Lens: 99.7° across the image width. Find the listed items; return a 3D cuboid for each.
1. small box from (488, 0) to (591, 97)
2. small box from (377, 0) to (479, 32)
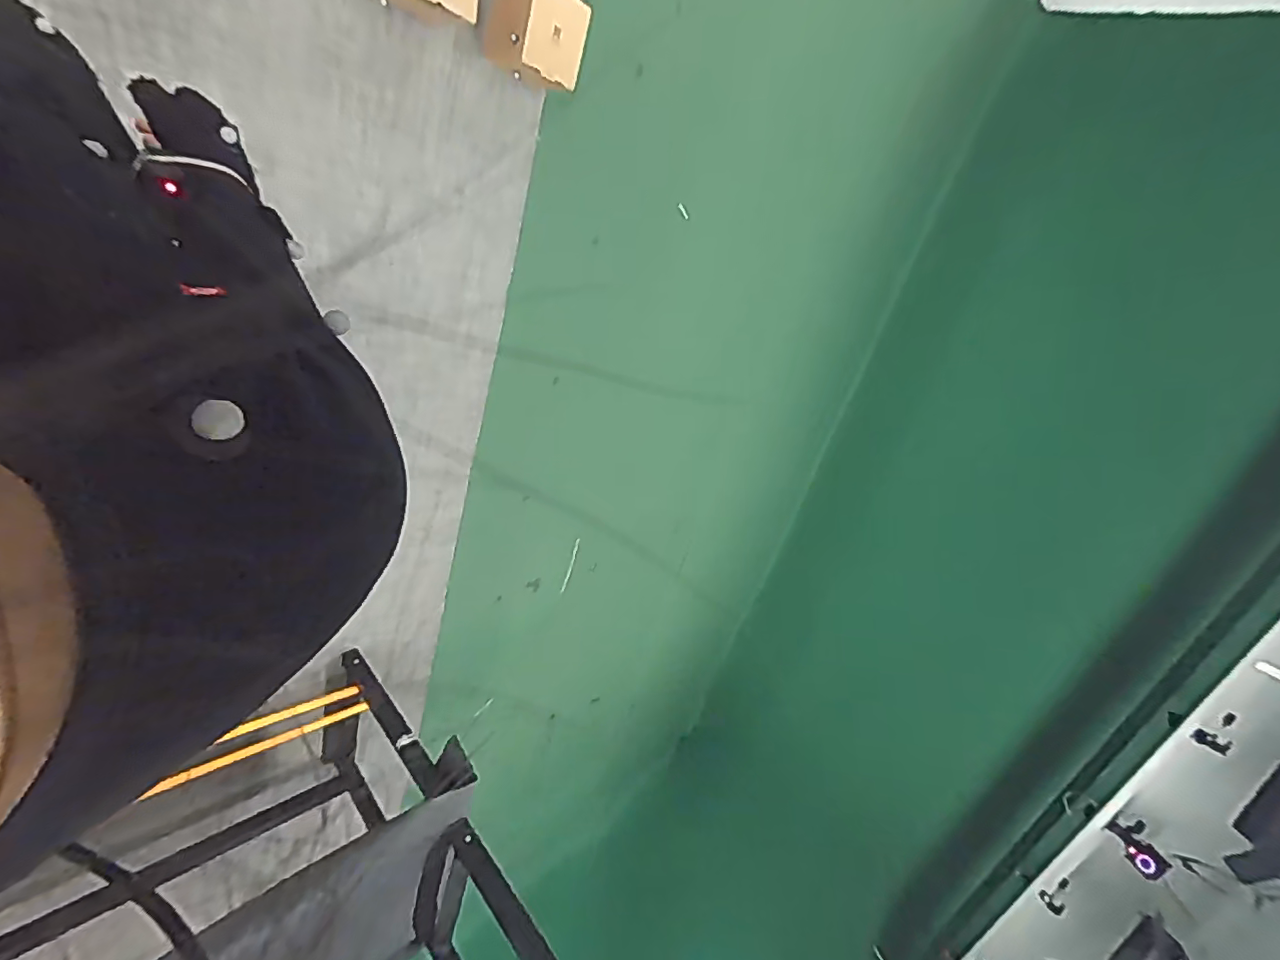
[{"bbox_3d":[-0.251,-1.074,1.322,0.168,0.176,0.179,-8,124,-48],"label":"small box"},{"bbox_3d":[-0.440,-1.050,1.099,0.168,0.176,0.179,-14,127,-46],"label":"small box"}]
